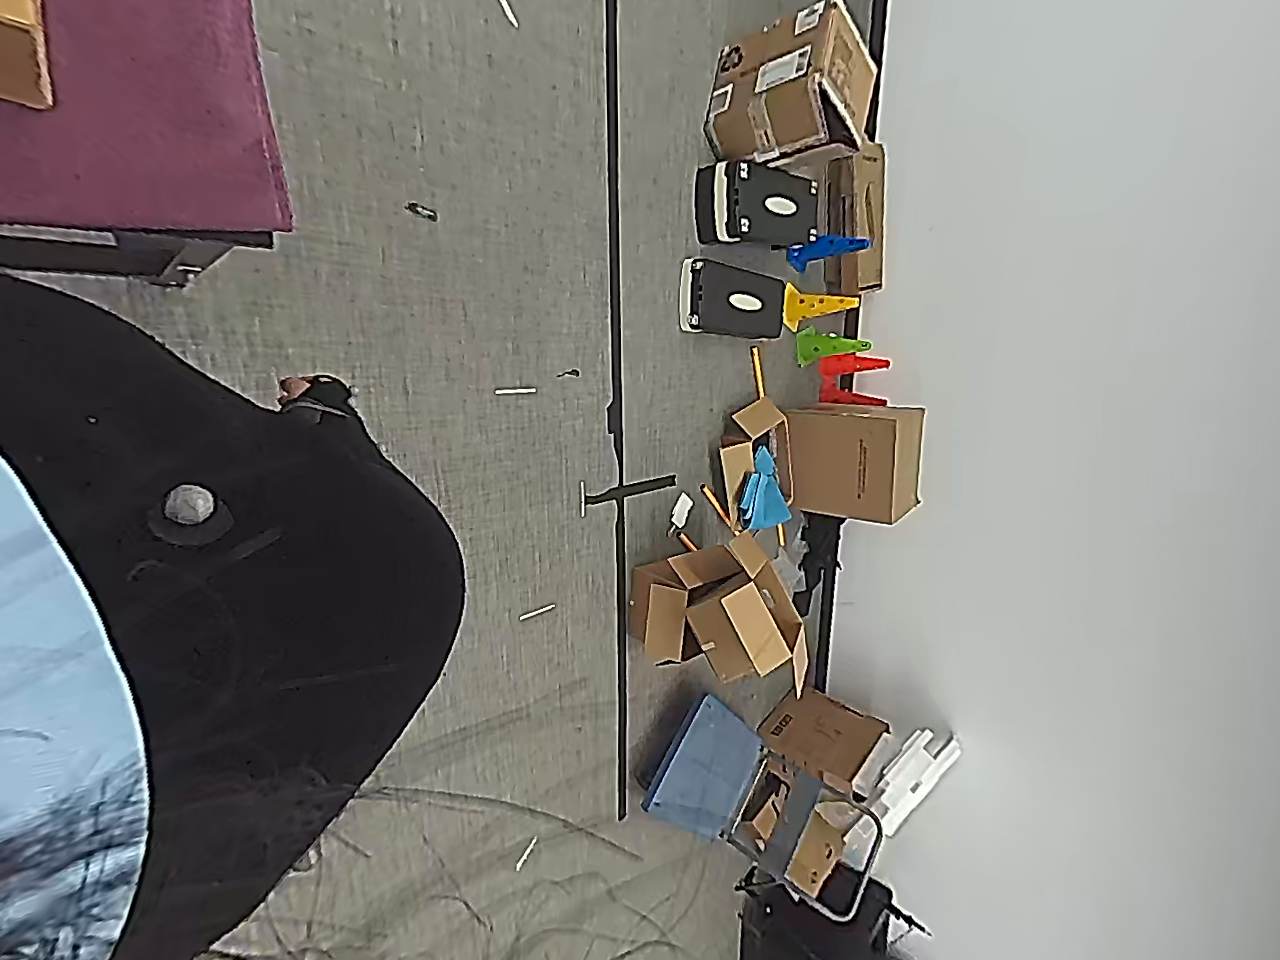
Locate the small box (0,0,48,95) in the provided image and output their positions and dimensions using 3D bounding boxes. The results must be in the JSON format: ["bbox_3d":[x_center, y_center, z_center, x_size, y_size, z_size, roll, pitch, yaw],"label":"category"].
[{"bbox_3d":[-0.545,-0.419,0.377,0.168,0.176,0.179,-7,104,-45],"label":"small box"}]
